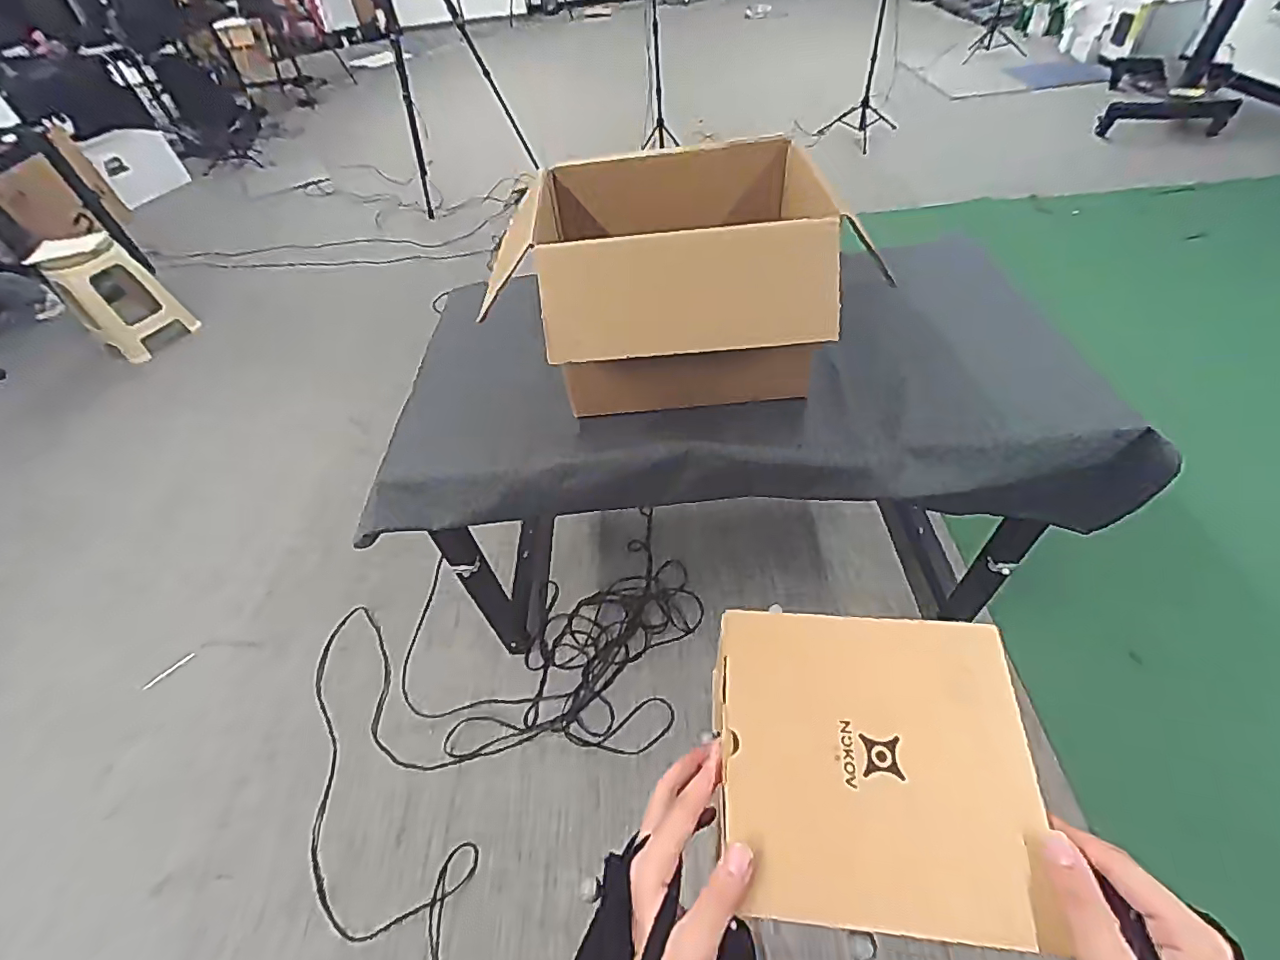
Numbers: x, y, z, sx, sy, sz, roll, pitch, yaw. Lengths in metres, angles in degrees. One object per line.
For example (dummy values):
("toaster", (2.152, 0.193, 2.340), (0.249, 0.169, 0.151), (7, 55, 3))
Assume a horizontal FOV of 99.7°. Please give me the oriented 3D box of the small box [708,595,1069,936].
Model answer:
("small box", (0.140, 0.191, 0.382), (0.179, 0.176, 0.168), (1, 58, 7))
